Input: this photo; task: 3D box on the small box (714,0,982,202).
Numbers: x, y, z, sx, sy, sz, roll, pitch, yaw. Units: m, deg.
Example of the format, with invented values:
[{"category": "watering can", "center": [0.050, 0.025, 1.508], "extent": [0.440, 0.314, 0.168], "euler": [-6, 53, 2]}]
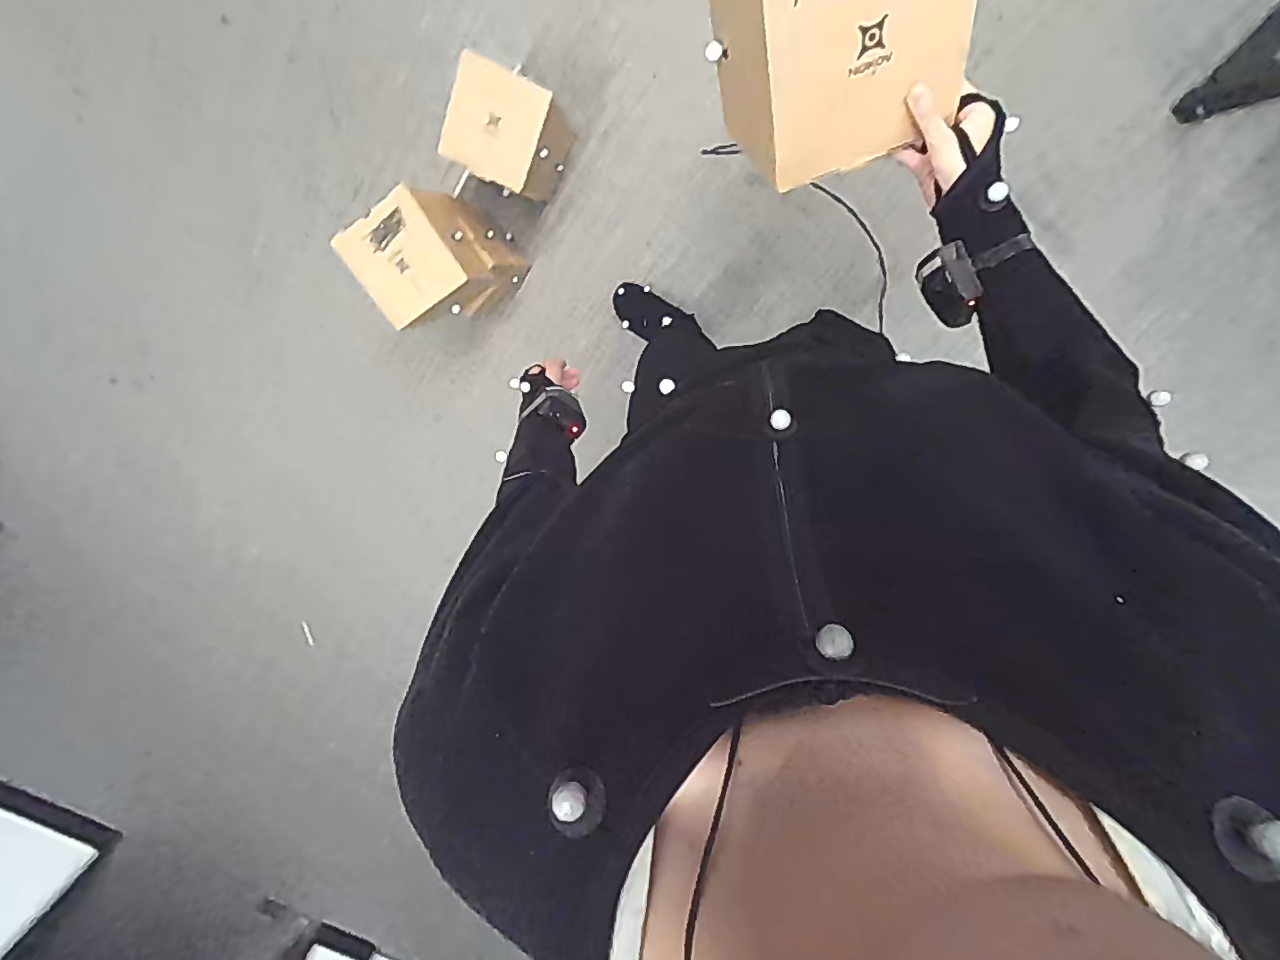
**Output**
[{"category": "small box", "center": [0.169, -0.391, 0.476], "extent": [0.168, 0.176, 0.179], "euler": [-18, 142, 6]}]

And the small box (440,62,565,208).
[{"category": "small box", "center": [-0.258, -0.653, 1.052], "extent": [0.168, 0.176, 0.179], "euler": [23, 111, -7]}]

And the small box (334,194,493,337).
[{"category": "small box", "center": [-0.401, -0.386, 0.990], "extent": [0.168, 0.176, 0.179], "euler": [-30, 107, 13]}]

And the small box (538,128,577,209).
[{"category": "small box", "center": [-0.256, -0.724, 1.199], "extent": [0.179, 0.176, 0.168], "euler": [28, 110, -7]}]

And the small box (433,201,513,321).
[{"category": "small box", "center": [-0.398, -0.450, 1.142], "extent": [0.179, 0.176, 0.168], "euler": [-35, 105, 14]}]
